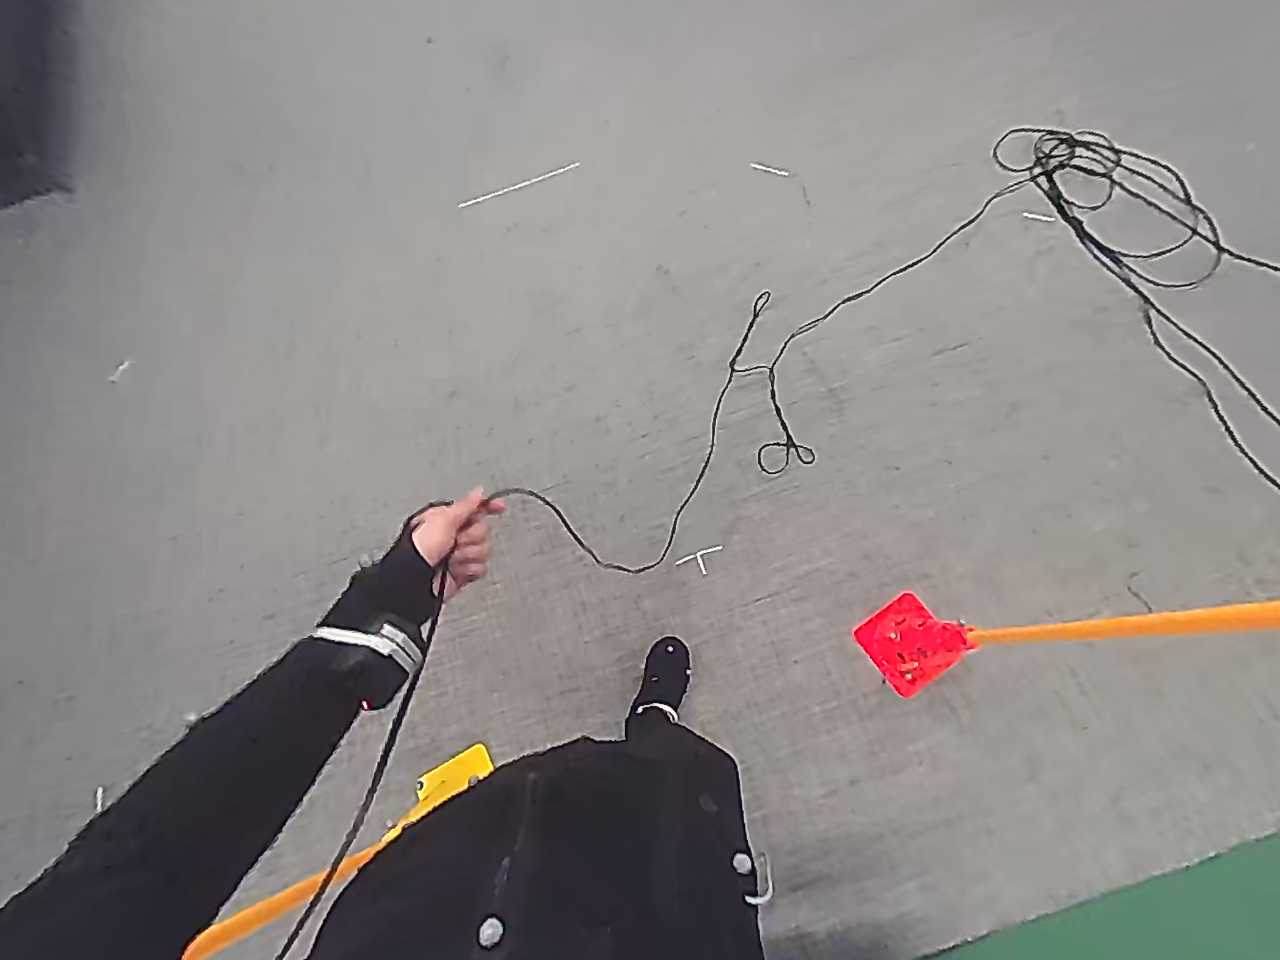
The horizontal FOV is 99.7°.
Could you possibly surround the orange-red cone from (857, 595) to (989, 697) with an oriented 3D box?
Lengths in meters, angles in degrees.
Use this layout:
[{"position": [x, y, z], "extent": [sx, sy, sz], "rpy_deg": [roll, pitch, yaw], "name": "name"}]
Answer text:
[{"position": [0.664, 0.361, 1.203], "extent": [0.199, 0.360, 0.198], "rpy_deg": [-32, 72, -7], "name": "orange-red cone"}]
